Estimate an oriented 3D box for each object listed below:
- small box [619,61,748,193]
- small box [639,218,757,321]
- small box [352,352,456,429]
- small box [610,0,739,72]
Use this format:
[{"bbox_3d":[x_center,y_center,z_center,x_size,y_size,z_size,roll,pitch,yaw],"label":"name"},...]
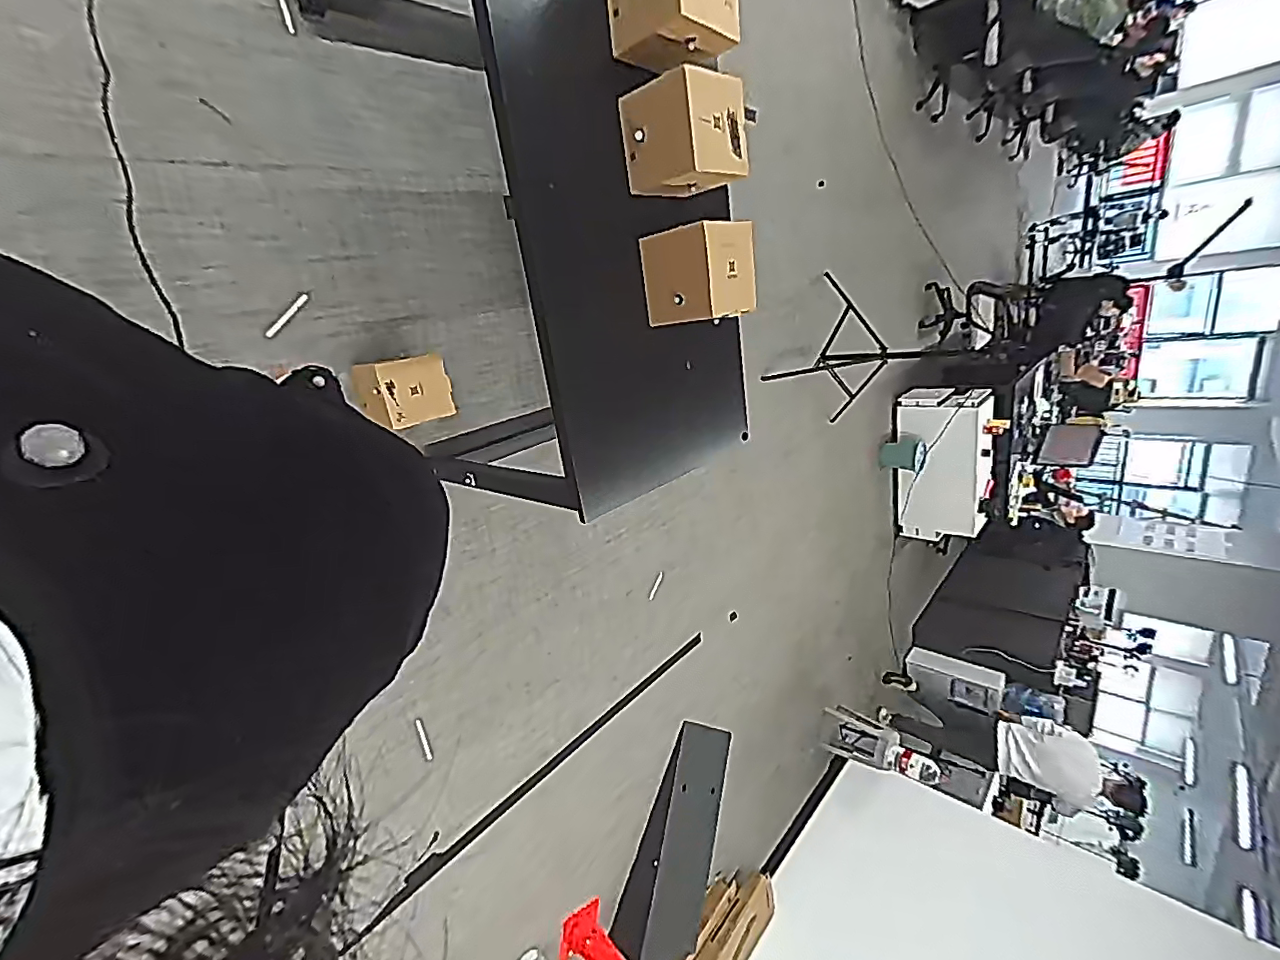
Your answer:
[{"bbox_3d":[0.085,-0.661,1.034,0.179,0.176,0.168,-26,115,-40],"label":"small box"},{"bbox_3d":[0.120,-0.427,1.112,0.168,0.176,0.179,-26,113,-43],"label":"small box"},{"bbox_3d":[-0.621,-0.238,1.424,0.179,0.176,0.168,-26,114,-41],"label":"small box"},{"bbox_3d":[0.056,-0.874,0.971,0.179,0.176,0.168,-21,112,-43],"label":"small box"}]
